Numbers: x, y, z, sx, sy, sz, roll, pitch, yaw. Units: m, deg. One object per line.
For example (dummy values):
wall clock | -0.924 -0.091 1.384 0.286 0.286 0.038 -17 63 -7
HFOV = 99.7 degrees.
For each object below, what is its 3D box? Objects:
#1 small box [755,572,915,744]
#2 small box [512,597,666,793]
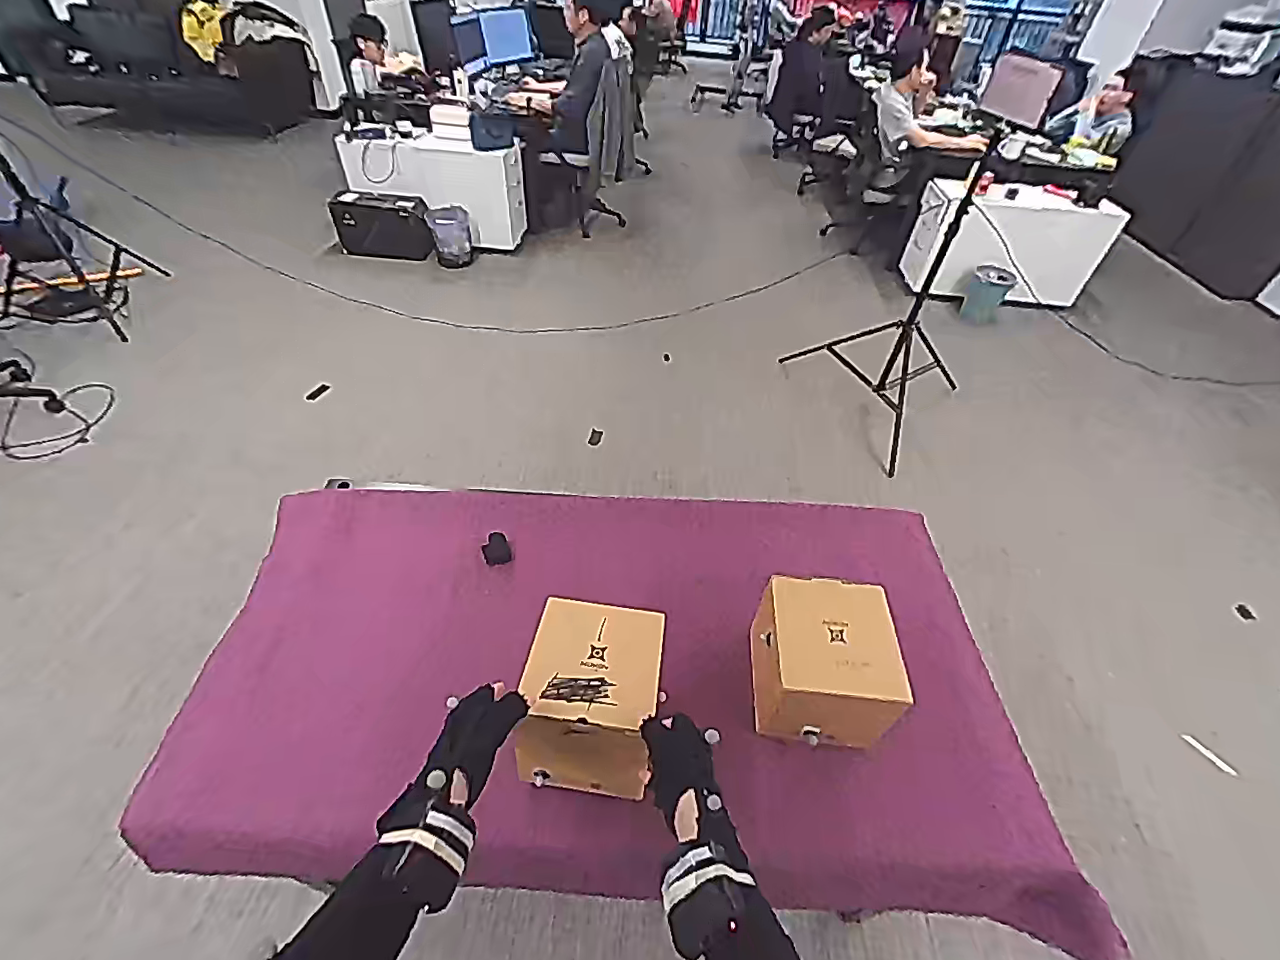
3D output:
small box | 0.268 0.260 0.793 0.168 0.176 0.179 5 45 2
small box | -0.059 0.286 0.723 0.168 0.176 0.179 7 36 3
